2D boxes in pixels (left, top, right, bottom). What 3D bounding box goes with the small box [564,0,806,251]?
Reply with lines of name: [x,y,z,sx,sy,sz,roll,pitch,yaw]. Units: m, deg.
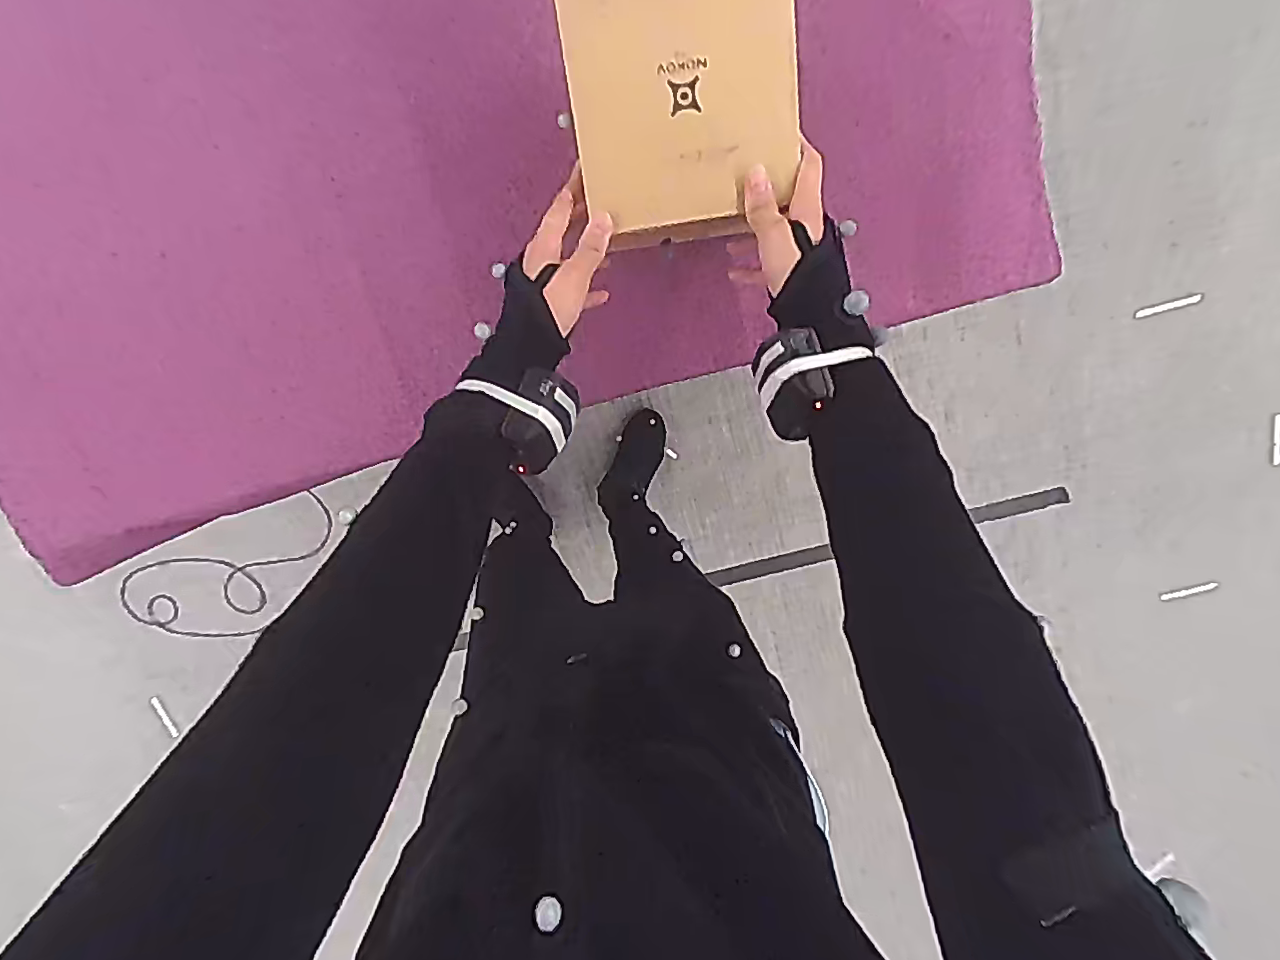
small box: [0.034,-0.303,0.458,0.168,0.176,0.179,-7,109,2]
